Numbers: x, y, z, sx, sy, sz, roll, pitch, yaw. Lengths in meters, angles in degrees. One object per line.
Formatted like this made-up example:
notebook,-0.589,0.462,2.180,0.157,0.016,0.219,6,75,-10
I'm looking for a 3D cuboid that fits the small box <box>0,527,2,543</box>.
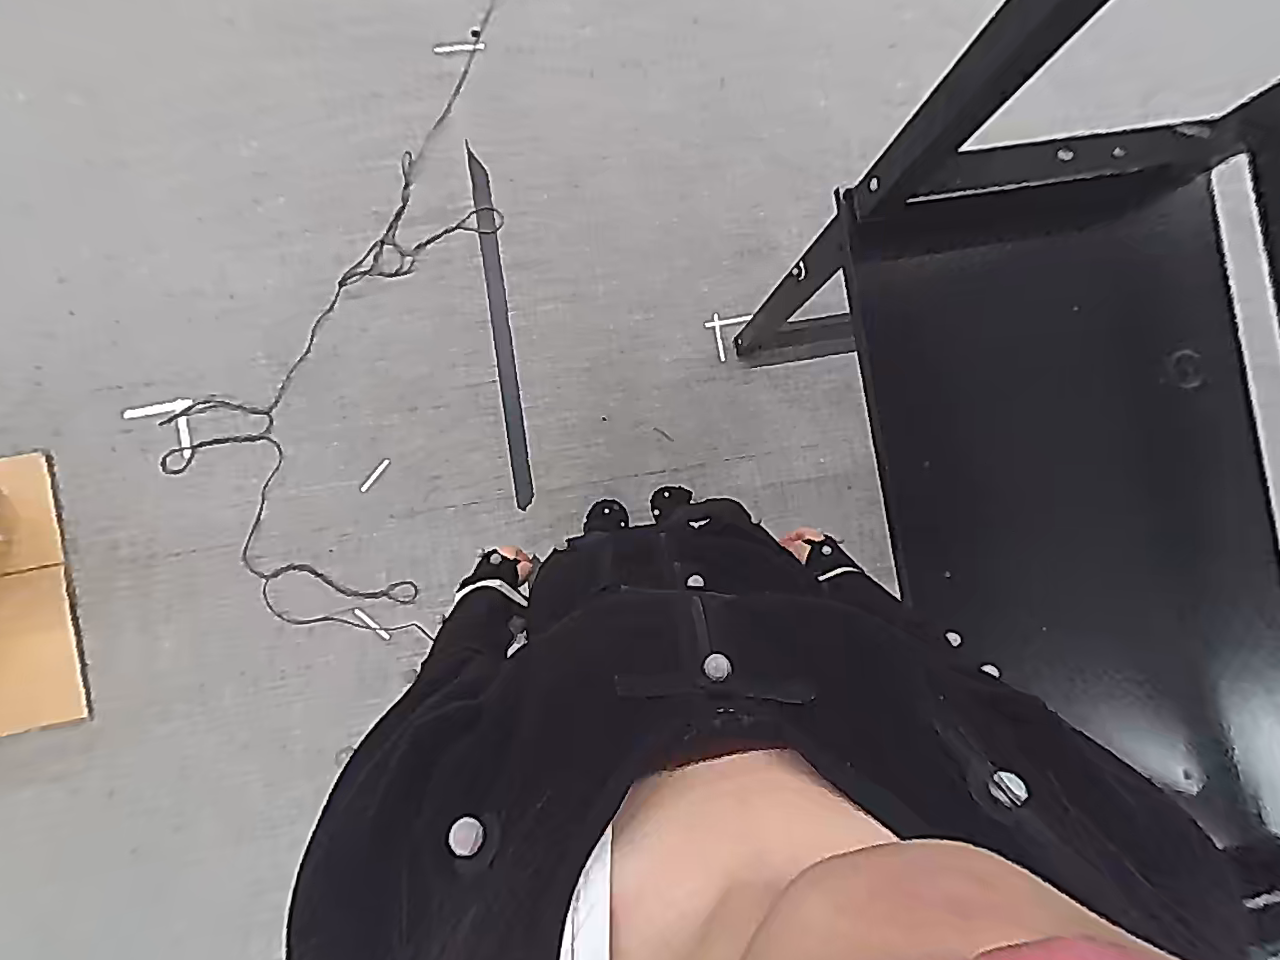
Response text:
small box,-1.694,0.111,1.283,0.179,0.176,0.168,-15,89,-4
